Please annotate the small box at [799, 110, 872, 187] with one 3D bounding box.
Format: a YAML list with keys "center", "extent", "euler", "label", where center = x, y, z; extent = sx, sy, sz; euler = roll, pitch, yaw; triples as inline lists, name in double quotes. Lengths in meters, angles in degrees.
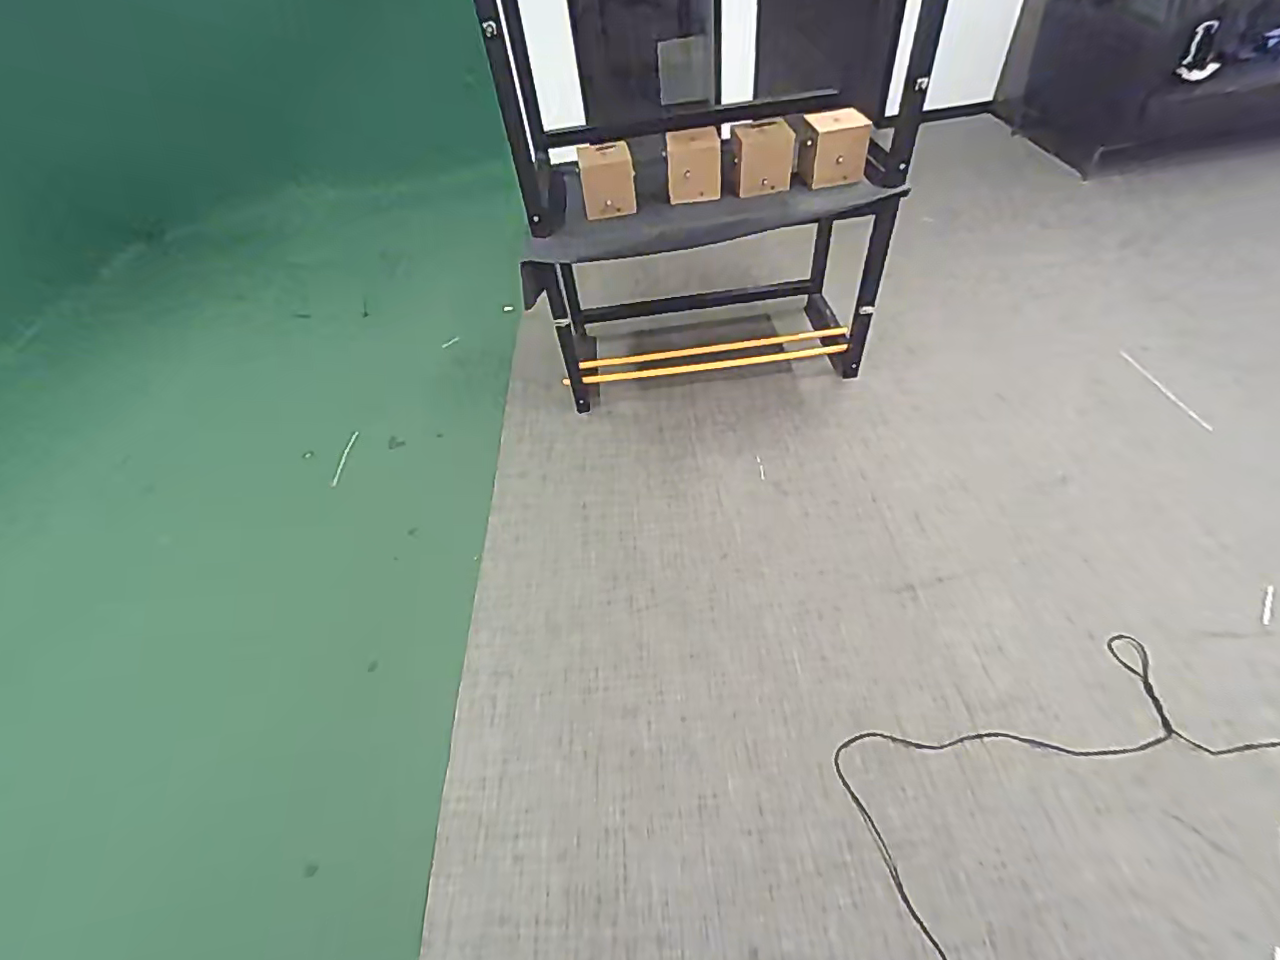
- center: [0.625, -1.068, 1.751]
  extent: [0.168, 0.176, 0.179]
  euler: [-8, 48, 0]
  label: "small box"

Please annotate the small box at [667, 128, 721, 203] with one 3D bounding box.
- center: [0.180, -1.033, 1.789]
  extent: [0.168, 0.176, 0.179]
  euler: [-4, 48, 4]
  label: "small box"

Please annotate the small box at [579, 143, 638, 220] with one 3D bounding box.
- center: [-0.104, -0.980, 1.779]
  extent: [0.168, 0.176, 0.179]
  euler: [-10, 49, -1]
  label: "small box"
